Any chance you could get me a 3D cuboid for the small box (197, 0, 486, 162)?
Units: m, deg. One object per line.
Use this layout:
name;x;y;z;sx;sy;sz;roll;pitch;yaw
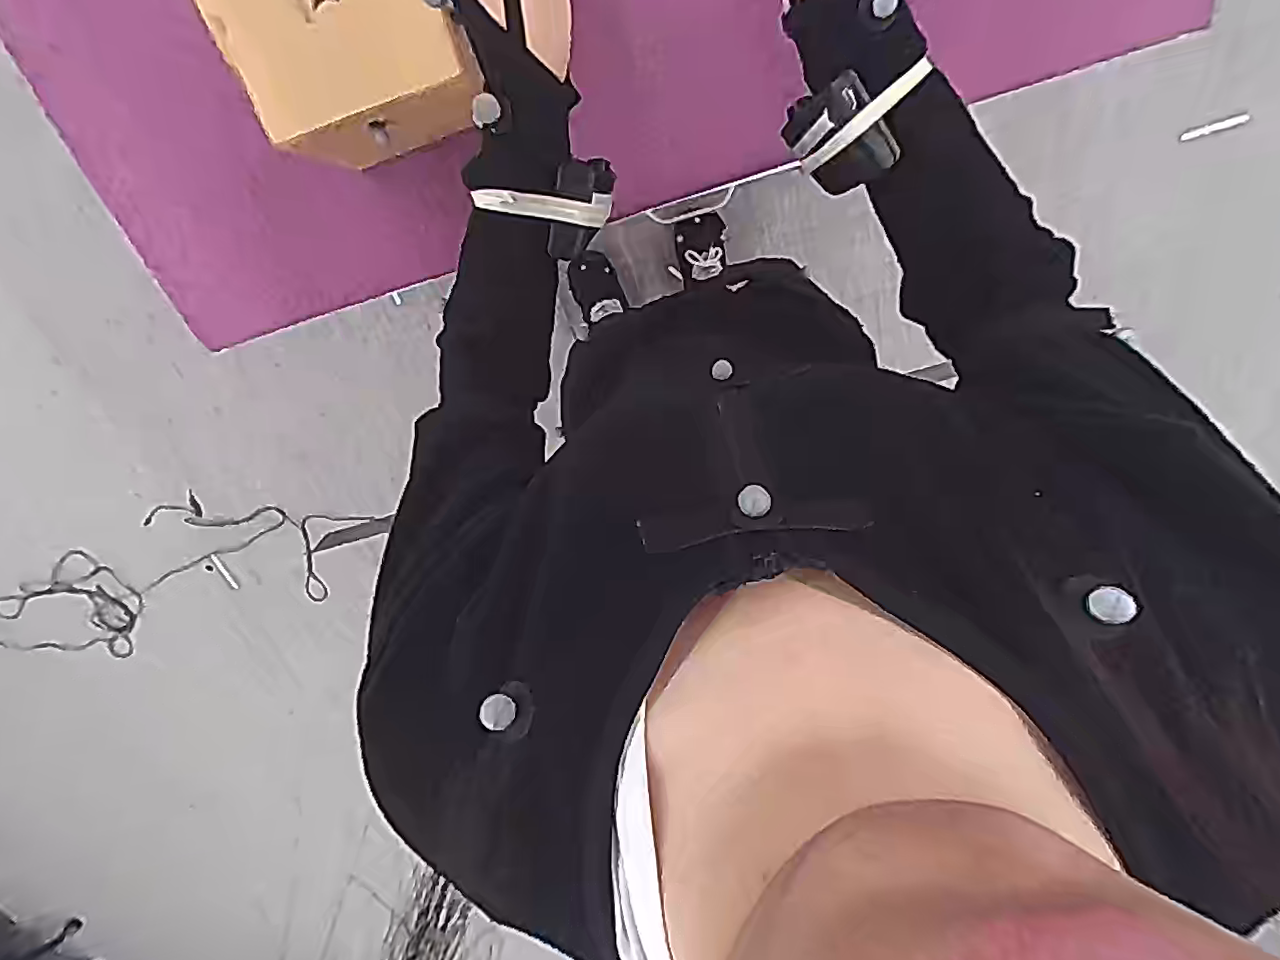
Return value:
small box;-0.256;-0.410;0.488;0.179;0.176;0.168;-17;115;6
